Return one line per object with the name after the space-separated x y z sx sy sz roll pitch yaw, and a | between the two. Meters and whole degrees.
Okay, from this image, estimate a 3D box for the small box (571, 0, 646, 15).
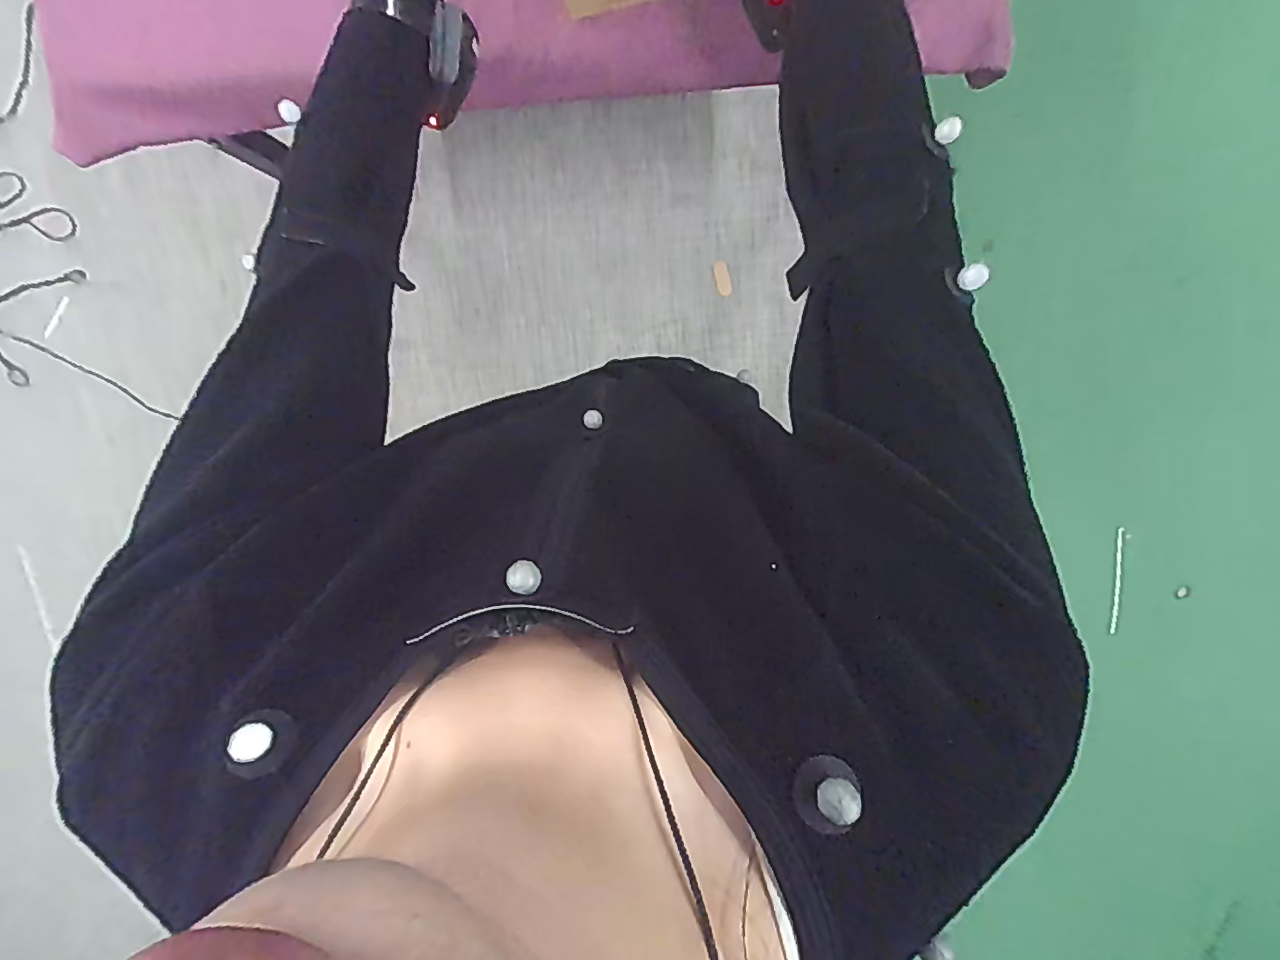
-0.023 -0.653 0.566 0.168 0.176 0.179 -10 99 5 | small box
